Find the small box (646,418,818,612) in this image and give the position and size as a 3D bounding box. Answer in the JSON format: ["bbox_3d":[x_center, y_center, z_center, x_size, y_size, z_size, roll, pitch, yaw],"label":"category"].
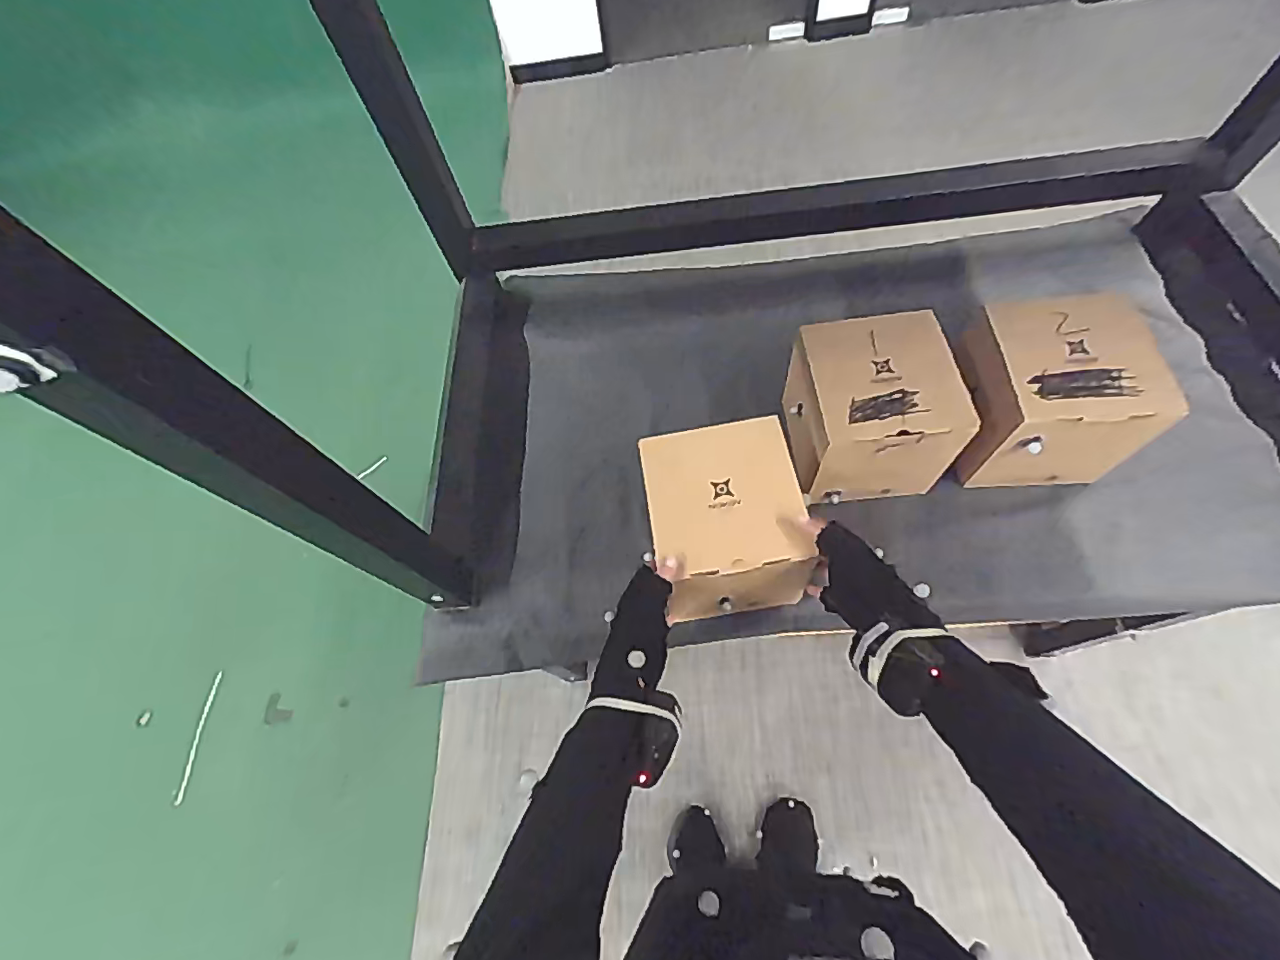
[{"bbox_3d":[0.104,0.050,0.672,0.168,0.176,0.179,-10,63,3],"label":"small box"}]
